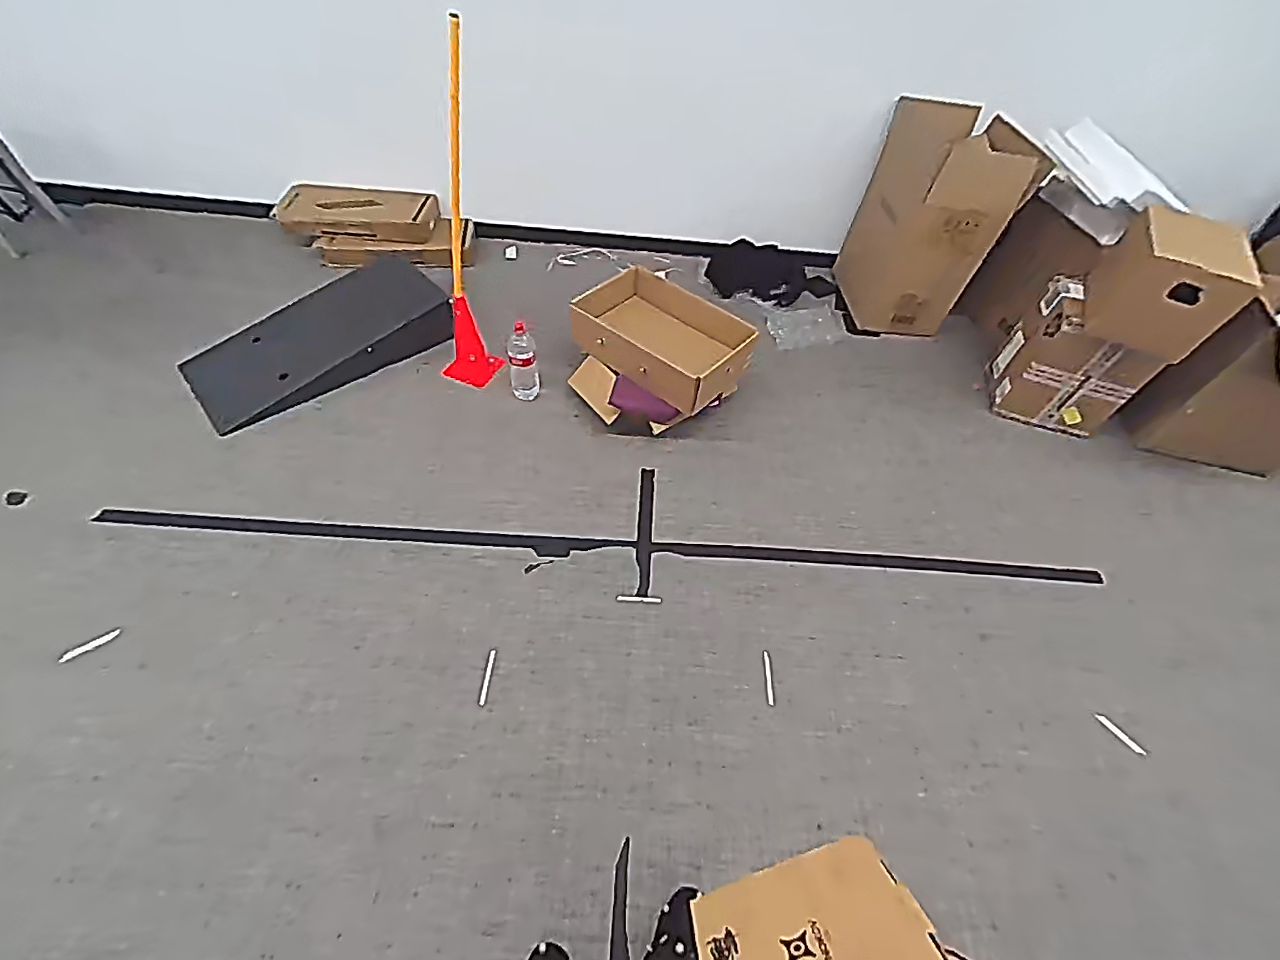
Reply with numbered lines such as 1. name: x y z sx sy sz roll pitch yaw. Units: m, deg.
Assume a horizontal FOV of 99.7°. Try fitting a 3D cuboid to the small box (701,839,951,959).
1. small box: 0.165 0.446 0.433 0.179 0.168 0.176 -19 91 -2
